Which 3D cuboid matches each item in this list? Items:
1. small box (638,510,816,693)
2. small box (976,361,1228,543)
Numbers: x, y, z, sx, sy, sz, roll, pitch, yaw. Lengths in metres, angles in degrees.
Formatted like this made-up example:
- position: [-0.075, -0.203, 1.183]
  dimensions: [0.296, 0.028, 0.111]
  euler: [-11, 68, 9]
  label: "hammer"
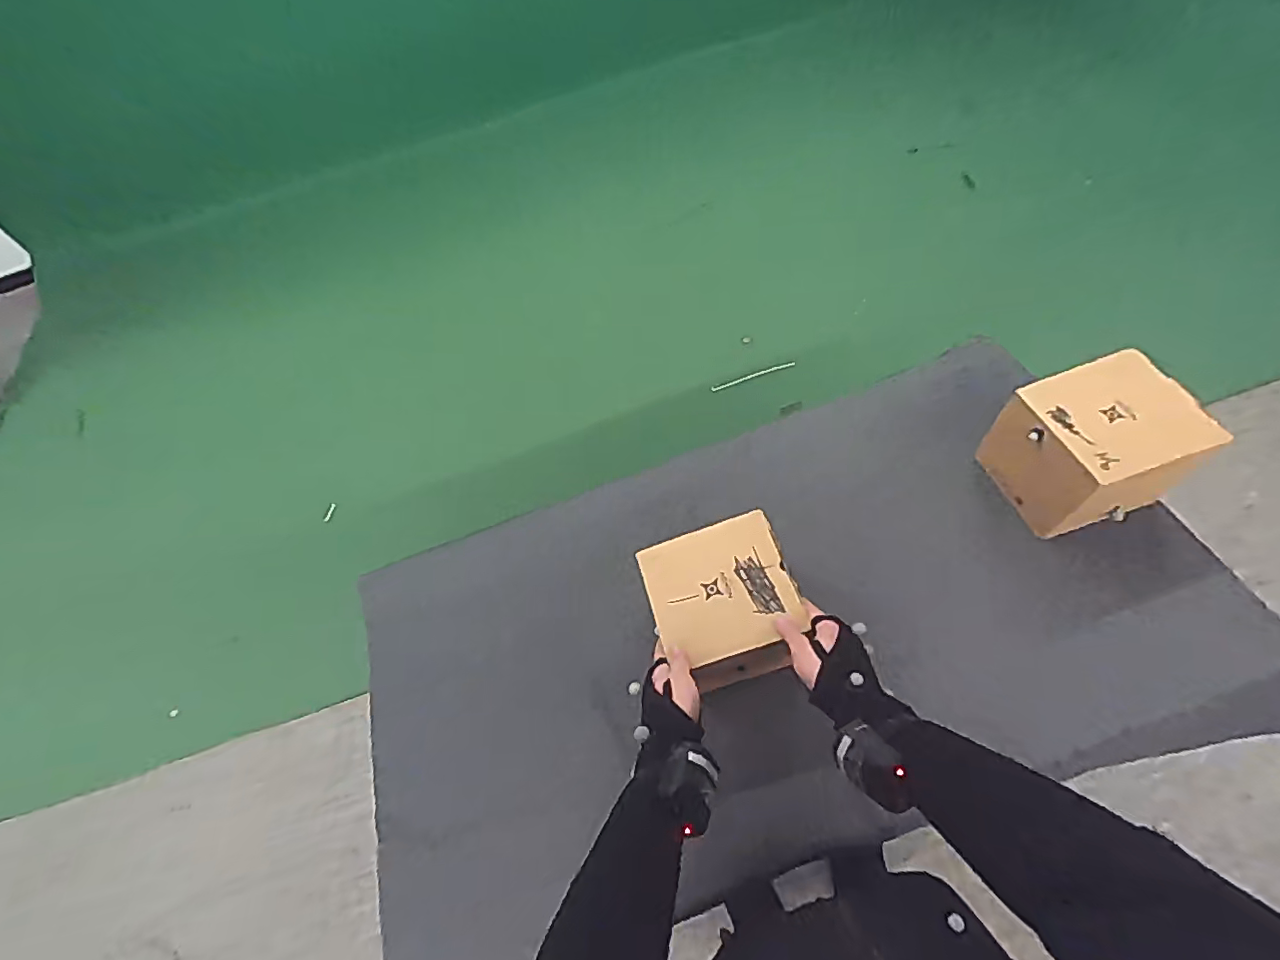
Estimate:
- position: [0.112, 0.168, 0.717]
  dimensions: [0.179, 0.176, 0.168]
  euler: [-18, 58, 3]
  label: "small box"
- position: [0.630, -0.034, 0.769]
  dimensions: [0.179, 0.176, 0.168]
  euler: [-17, 58, -2]
  label: "small box"
